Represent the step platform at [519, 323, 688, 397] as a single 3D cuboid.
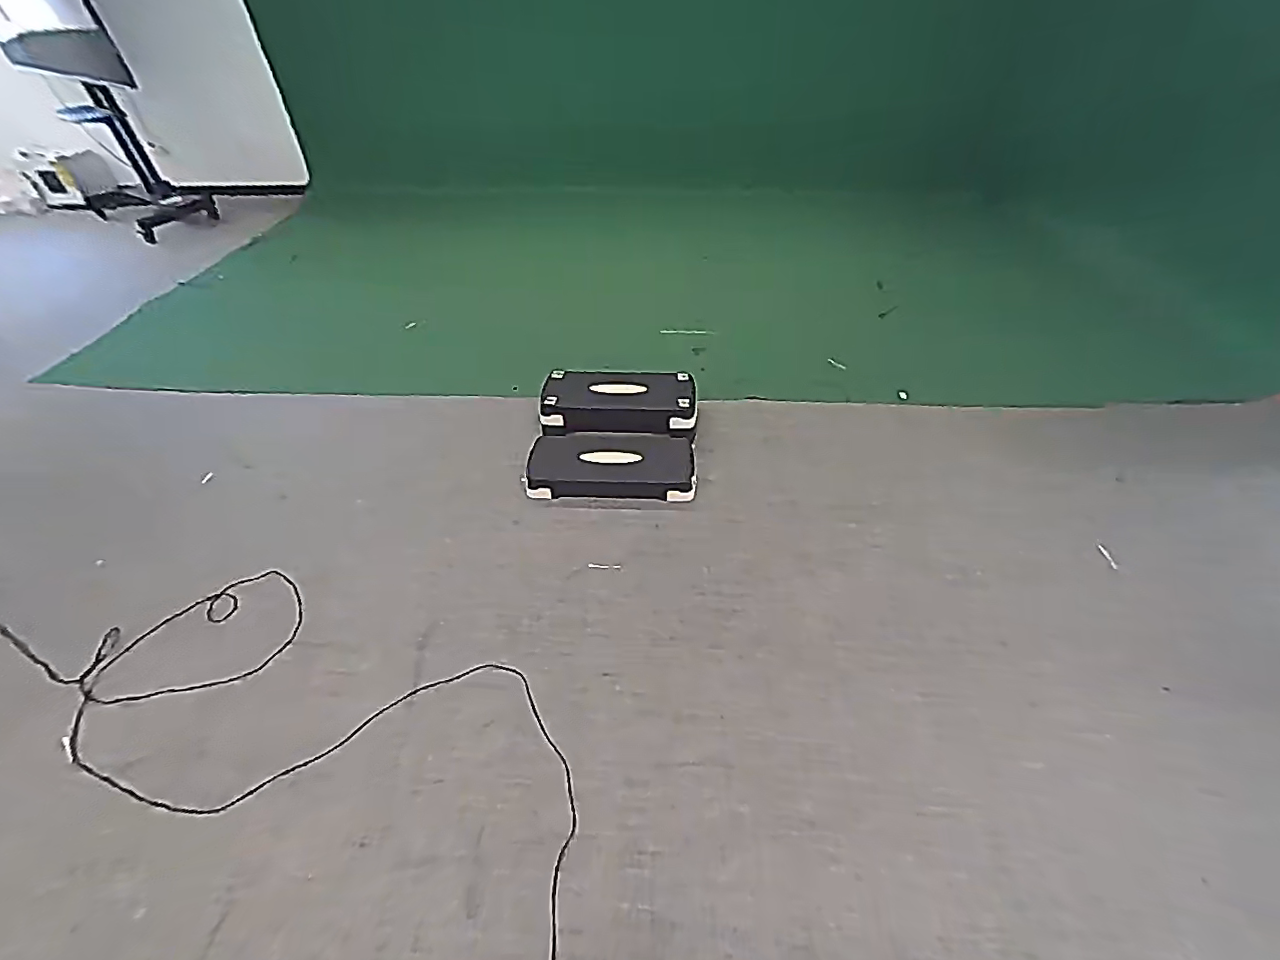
[{"bbox_3d":[-0.144,-0.500,2.263,0.684,0.204,0.286,0,45,3],"label":"step platform"}]
